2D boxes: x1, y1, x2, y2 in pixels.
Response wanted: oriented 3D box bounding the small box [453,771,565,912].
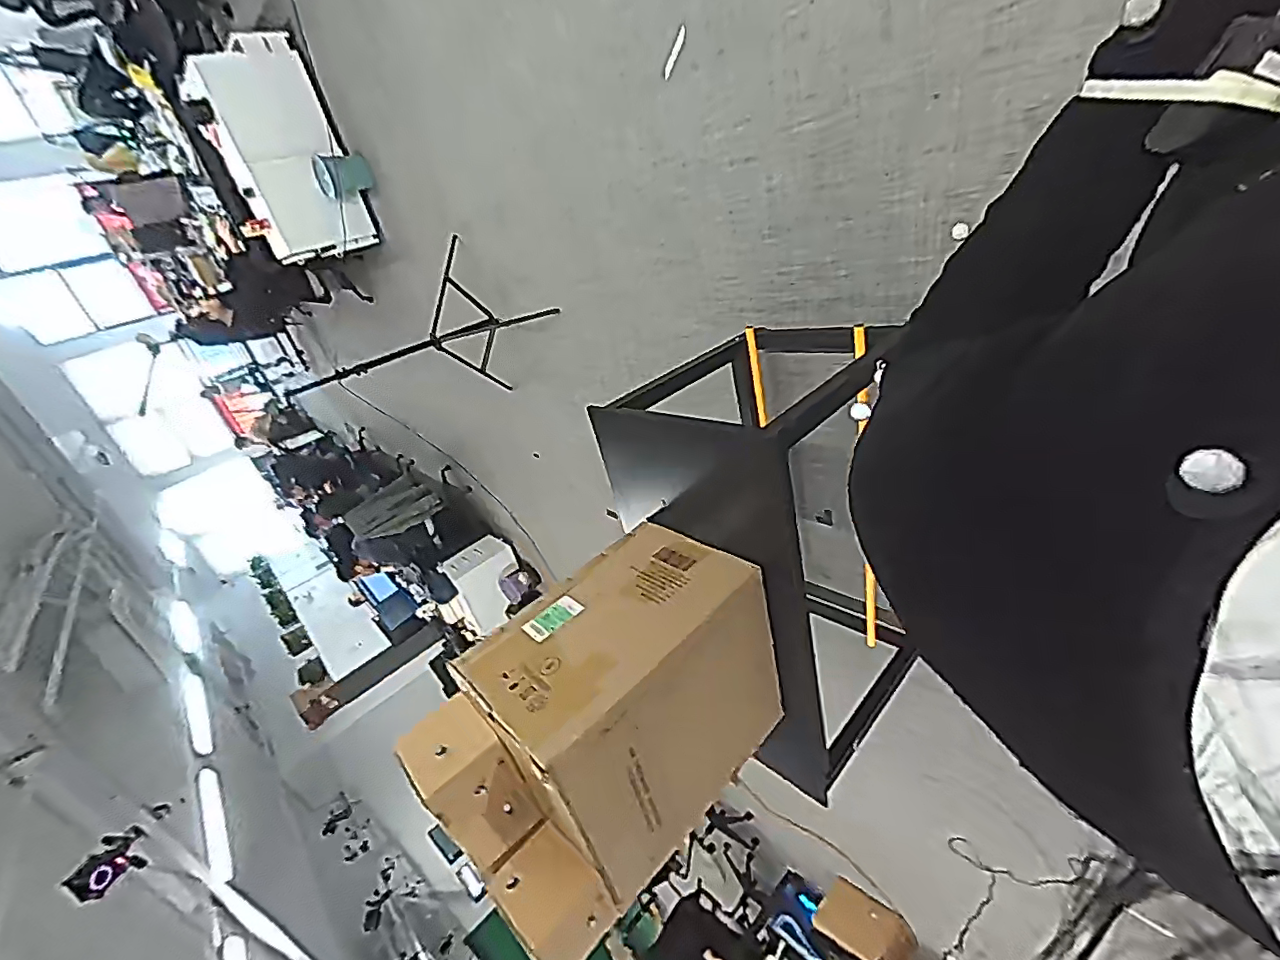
[{"bbox_3d":[-0.296,0.829,1.252,0.168,0.176,0.179,18,131,46],"label":"small box"}]
